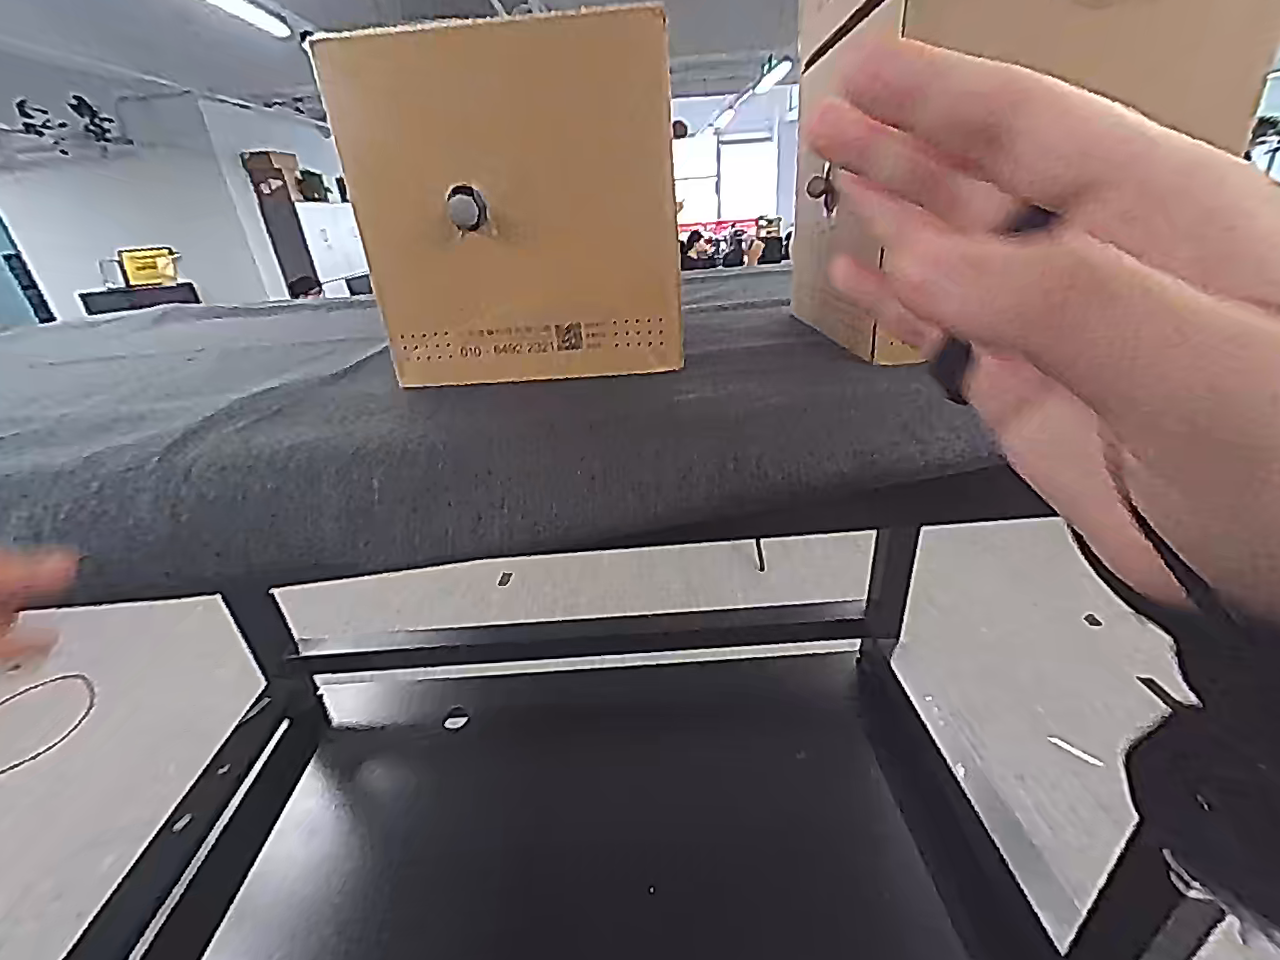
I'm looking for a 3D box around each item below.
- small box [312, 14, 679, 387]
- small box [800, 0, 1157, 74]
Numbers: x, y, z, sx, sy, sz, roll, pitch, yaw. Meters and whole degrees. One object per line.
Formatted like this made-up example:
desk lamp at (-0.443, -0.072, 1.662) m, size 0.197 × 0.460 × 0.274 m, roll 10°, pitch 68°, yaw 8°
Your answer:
small box at (-0.062, -0.160, 0.352) m, size 0.168 × 0.176 × 0.179 m, roll -3°, pitch 25°, yaw 3°
small box at (0.184, -0.318, 0.257) m, size 0.179 × 0.176 × 0.168 m, roll -5°, pitch 24°, yaw 2°
